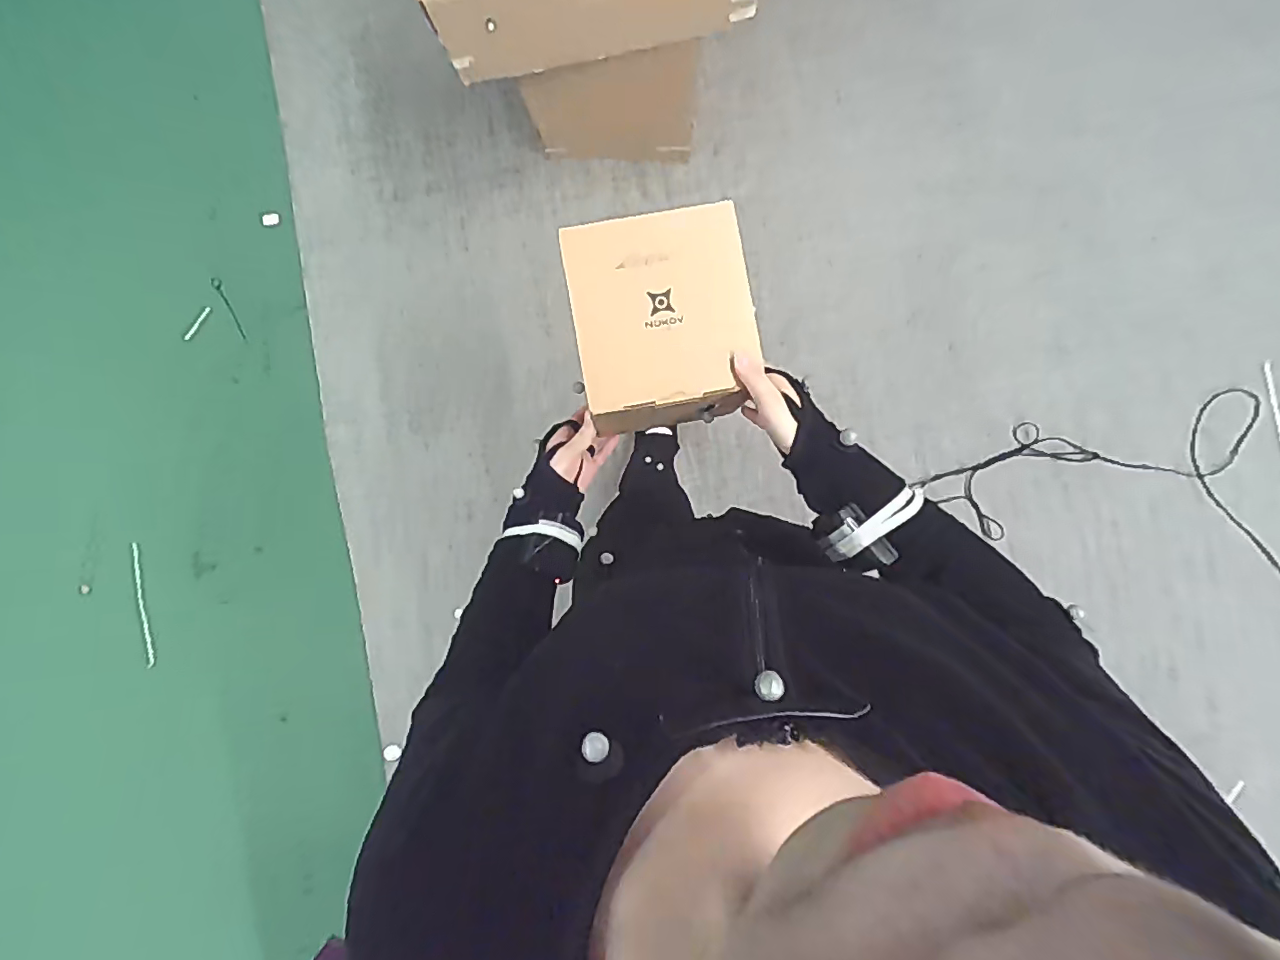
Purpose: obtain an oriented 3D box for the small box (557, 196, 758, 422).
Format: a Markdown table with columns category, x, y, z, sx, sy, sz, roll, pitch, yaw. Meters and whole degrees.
| category | x | y | z | sx | sy | sz | roll | pitch | yaw |
| --- | --- | --- | --- | --- | --- | --- | --- | --- | --- |
| small box | 0.016 | -0.162 | 0.573 | 0.168 | 0.176 | 0.179 | -9 | 87 | -1 |
